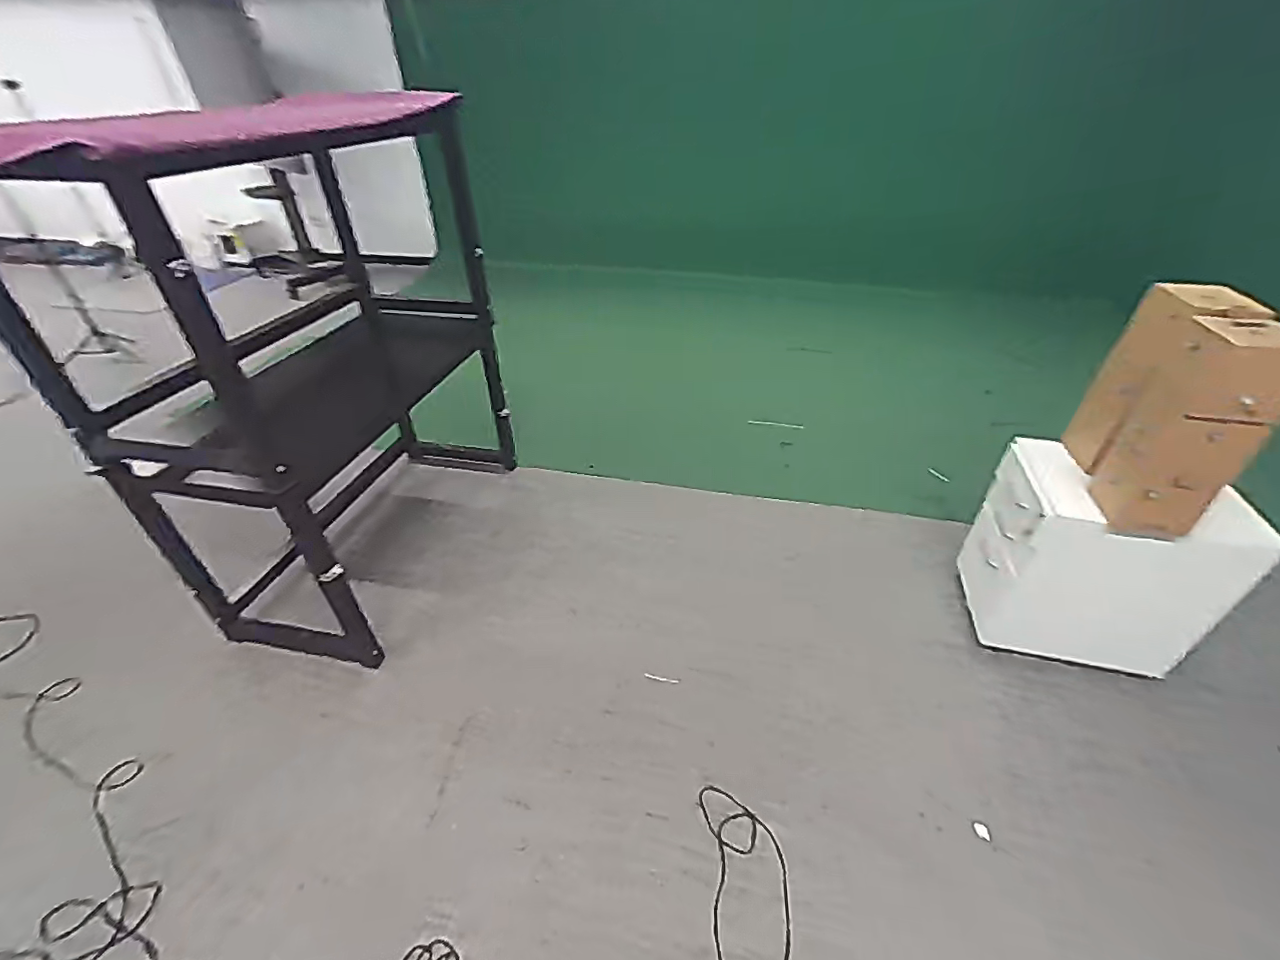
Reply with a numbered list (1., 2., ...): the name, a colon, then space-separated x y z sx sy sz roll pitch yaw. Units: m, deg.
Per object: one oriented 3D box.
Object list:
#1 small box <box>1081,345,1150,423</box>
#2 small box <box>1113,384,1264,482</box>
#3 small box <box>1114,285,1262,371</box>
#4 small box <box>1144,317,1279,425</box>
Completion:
1. small box: 1.370 -0.253 1.478 0.168 0.176 0.179 6 38 6
2. small box: 1.284 -0.113 1.290 0.179 0.176 0.168 8 37 11
3. small box: 1.374 -0.381 1.376 0.168 0.176 0.179 6 39 7
4. small box: 1.278 -0.242 1.189 0.168 0.176 0.179 7 37 11
